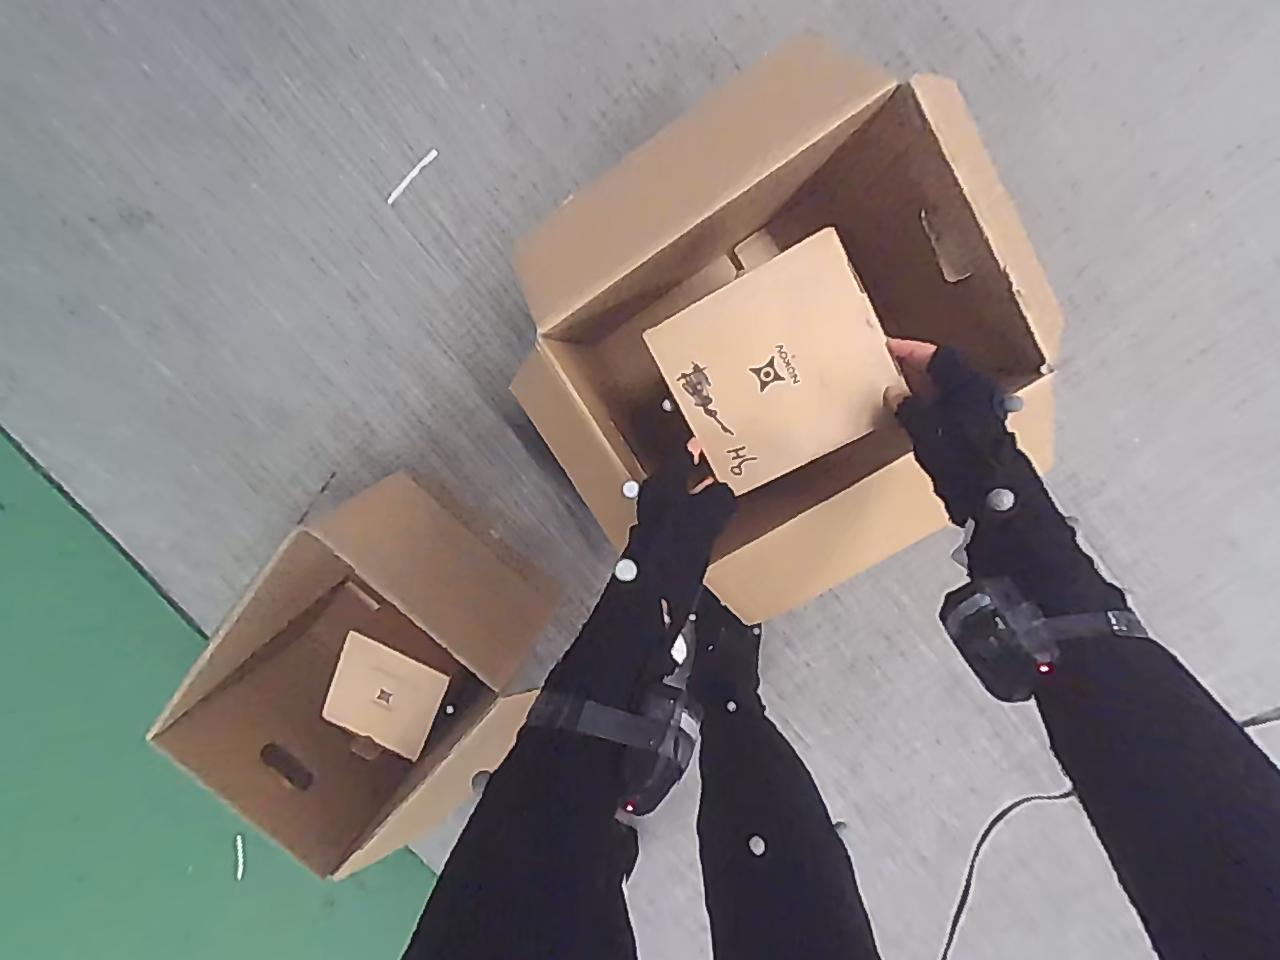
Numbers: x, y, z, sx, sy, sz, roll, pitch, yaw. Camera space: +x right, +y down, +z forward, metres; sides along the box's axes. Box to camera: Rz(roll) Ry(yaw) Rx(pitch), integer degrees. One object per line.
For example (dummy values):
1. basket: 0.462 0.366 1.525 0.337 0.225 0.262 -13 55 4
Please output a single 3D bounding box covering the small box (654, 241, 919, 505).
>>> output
1. small box: 0.131 -0.100 0.536 0.179 0.176 0.168 -28 95 11
